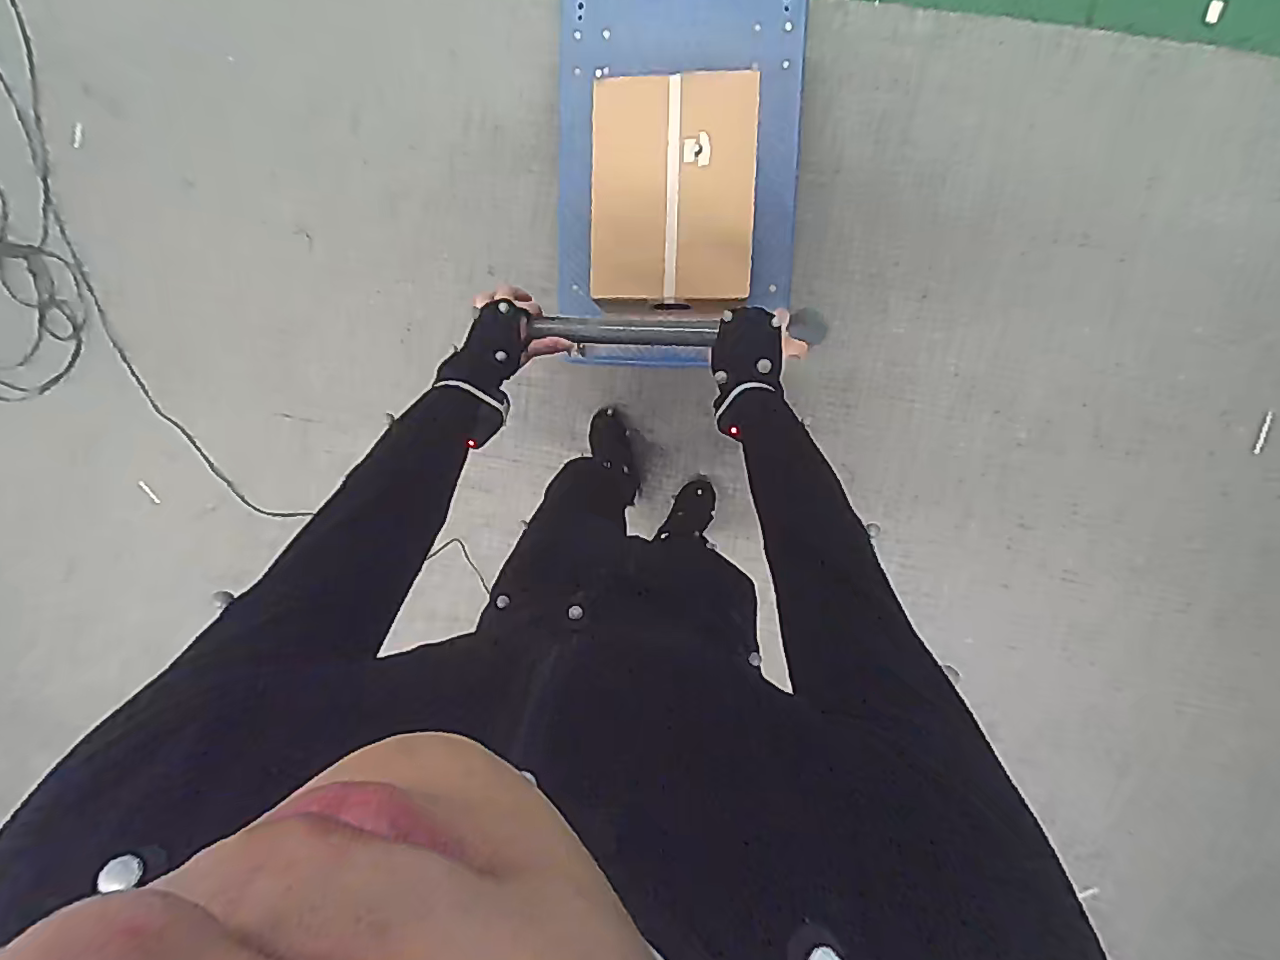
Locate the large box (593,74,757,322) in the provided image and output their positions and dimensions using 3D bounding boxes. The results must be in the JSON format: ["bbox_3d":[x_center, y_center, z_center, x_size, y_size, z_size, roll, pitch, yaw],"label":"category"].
[{"bbox_3d":[0.081,-0.577,1.189,0.320,0.320,0.408,3,97,6],"label":"large box"}]
